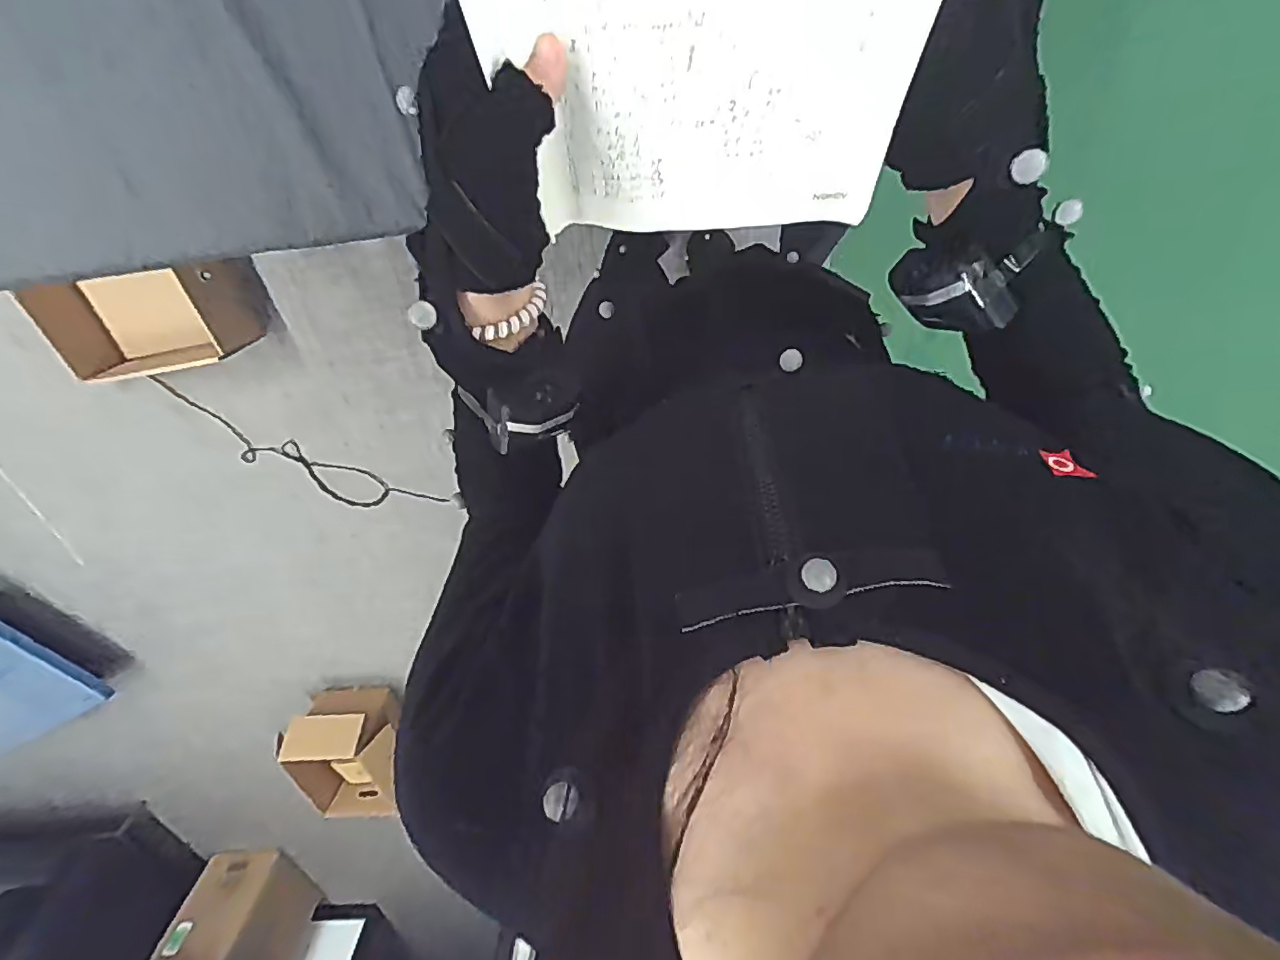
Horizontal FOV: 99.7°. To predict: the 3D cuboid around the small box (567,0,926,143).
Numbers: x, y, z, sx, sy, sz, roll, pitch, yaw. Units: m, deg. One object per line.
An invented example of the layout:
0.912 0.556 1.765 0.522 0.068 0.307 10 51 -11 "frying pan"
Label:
0.039 -0.307 0.282 0.168 0.176 0.179 -10 131 9 "small box"
